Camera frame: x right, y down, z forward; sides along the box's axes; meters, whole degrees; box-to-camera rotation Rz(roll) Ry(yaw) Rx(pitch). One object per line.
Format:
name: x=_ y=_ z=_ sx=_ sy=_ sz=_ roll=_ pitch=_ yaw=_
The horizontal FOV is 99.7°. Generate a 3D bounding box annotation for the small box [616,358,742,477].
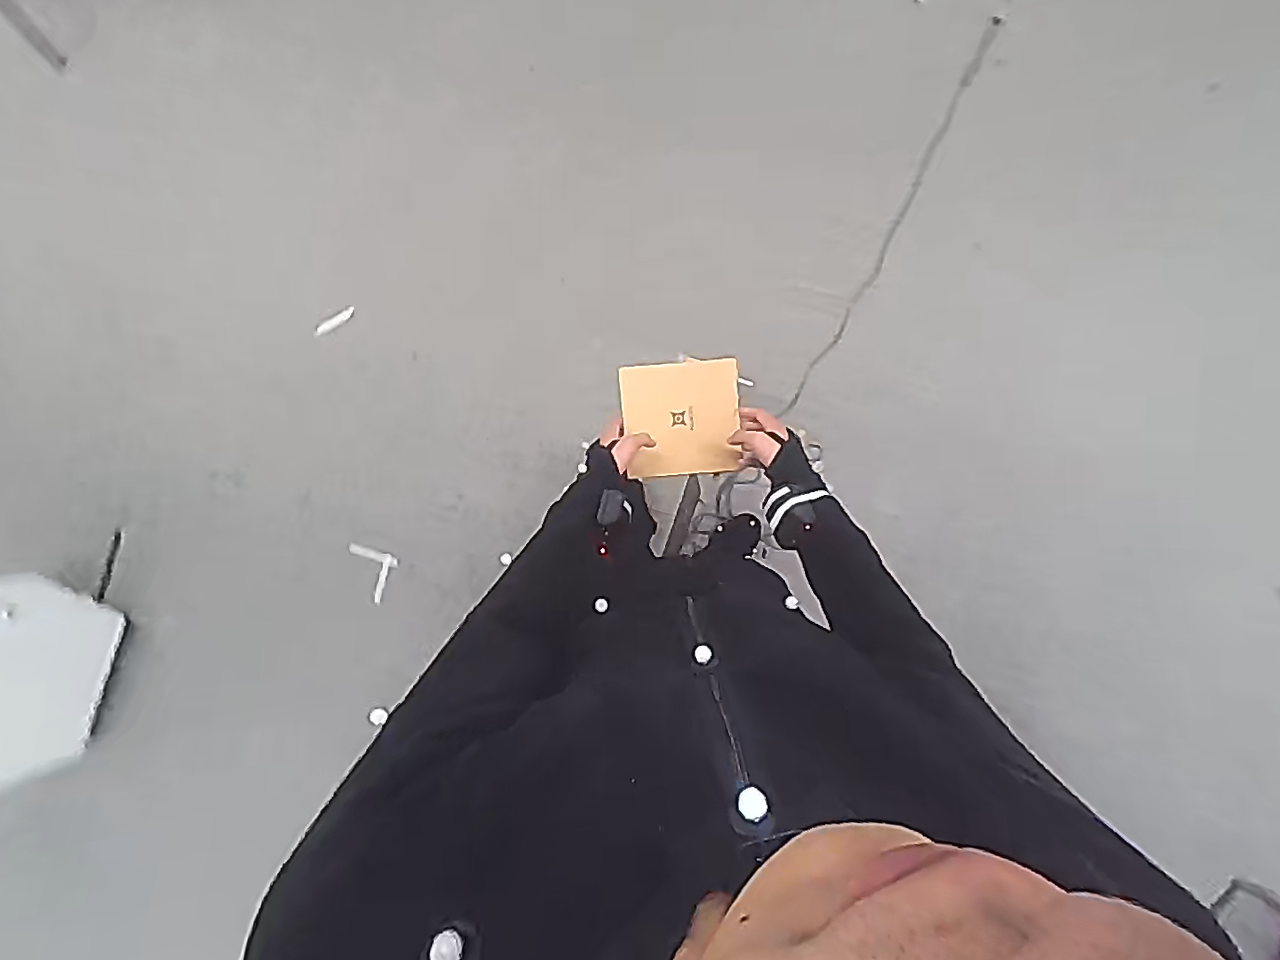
small box: x=0.058 y=-0.092 z=0.870 sx=0.179 sy=0.176 sz=0.168 roll=-5 pitch=92 yaw=0
